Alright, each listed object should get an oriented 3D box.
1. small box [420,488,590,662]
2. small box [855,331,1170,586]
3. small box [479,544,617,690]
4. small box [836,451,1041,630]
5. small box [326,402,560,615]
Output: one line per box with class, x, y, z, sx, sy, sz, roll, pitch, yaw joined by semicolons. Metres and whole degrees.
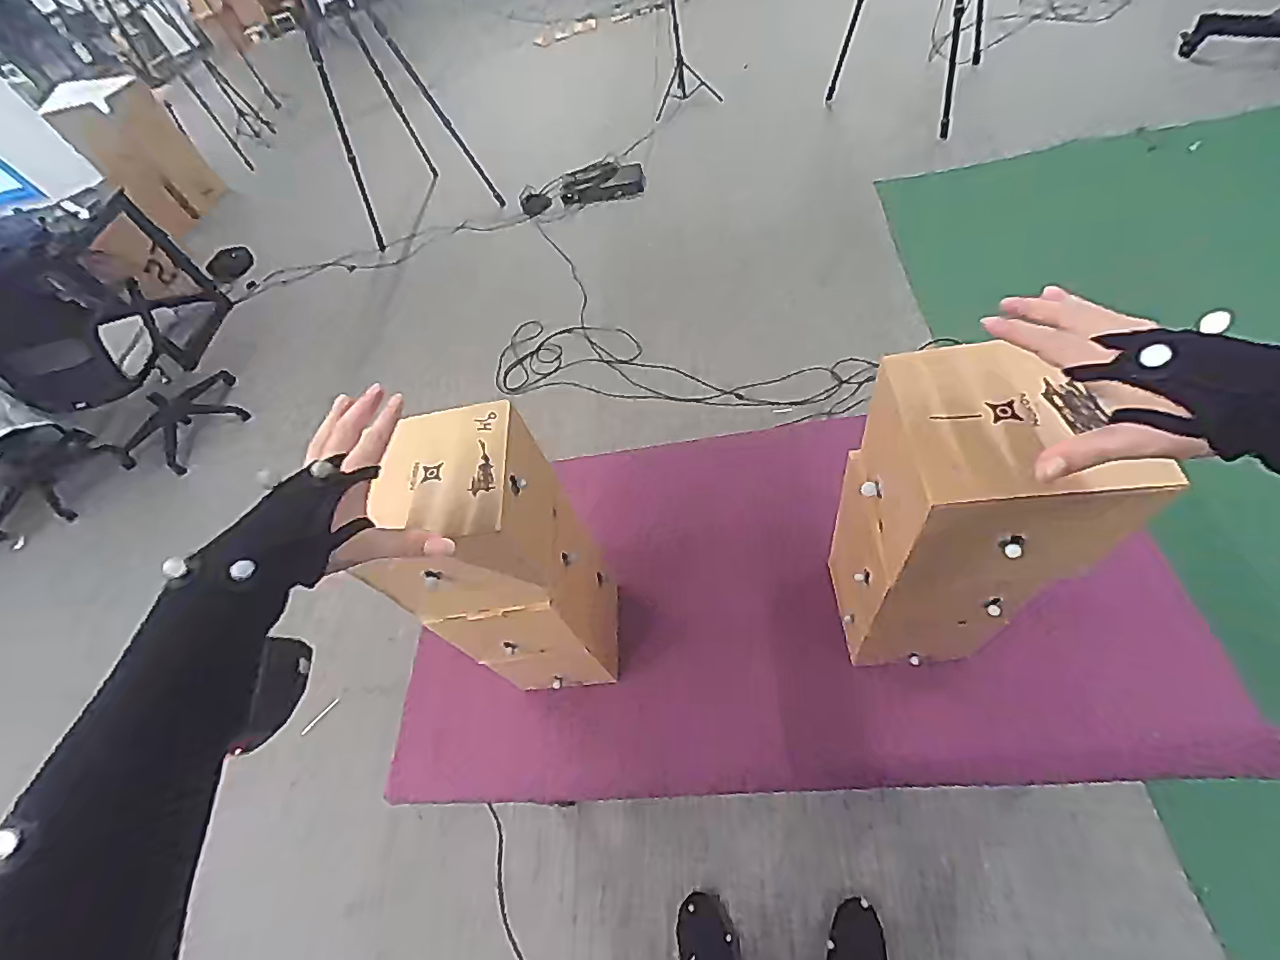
small box;-0.171;0.134;0.745;0.168;0.176;0.179;-9;55;8
small box;0.316;-0.010;0.510;0.179;0.176;0.168;-7;55;12
small box;-0.137;0.225;0.874;0.168;0.176;0.179;-8;55;10
small box;0.341;0.072;0.649;0.168;0.176;0.179;-8;55;9
small box;-0.204;0.041;0.614;0.179;0.176;0.168;-11;55;8
